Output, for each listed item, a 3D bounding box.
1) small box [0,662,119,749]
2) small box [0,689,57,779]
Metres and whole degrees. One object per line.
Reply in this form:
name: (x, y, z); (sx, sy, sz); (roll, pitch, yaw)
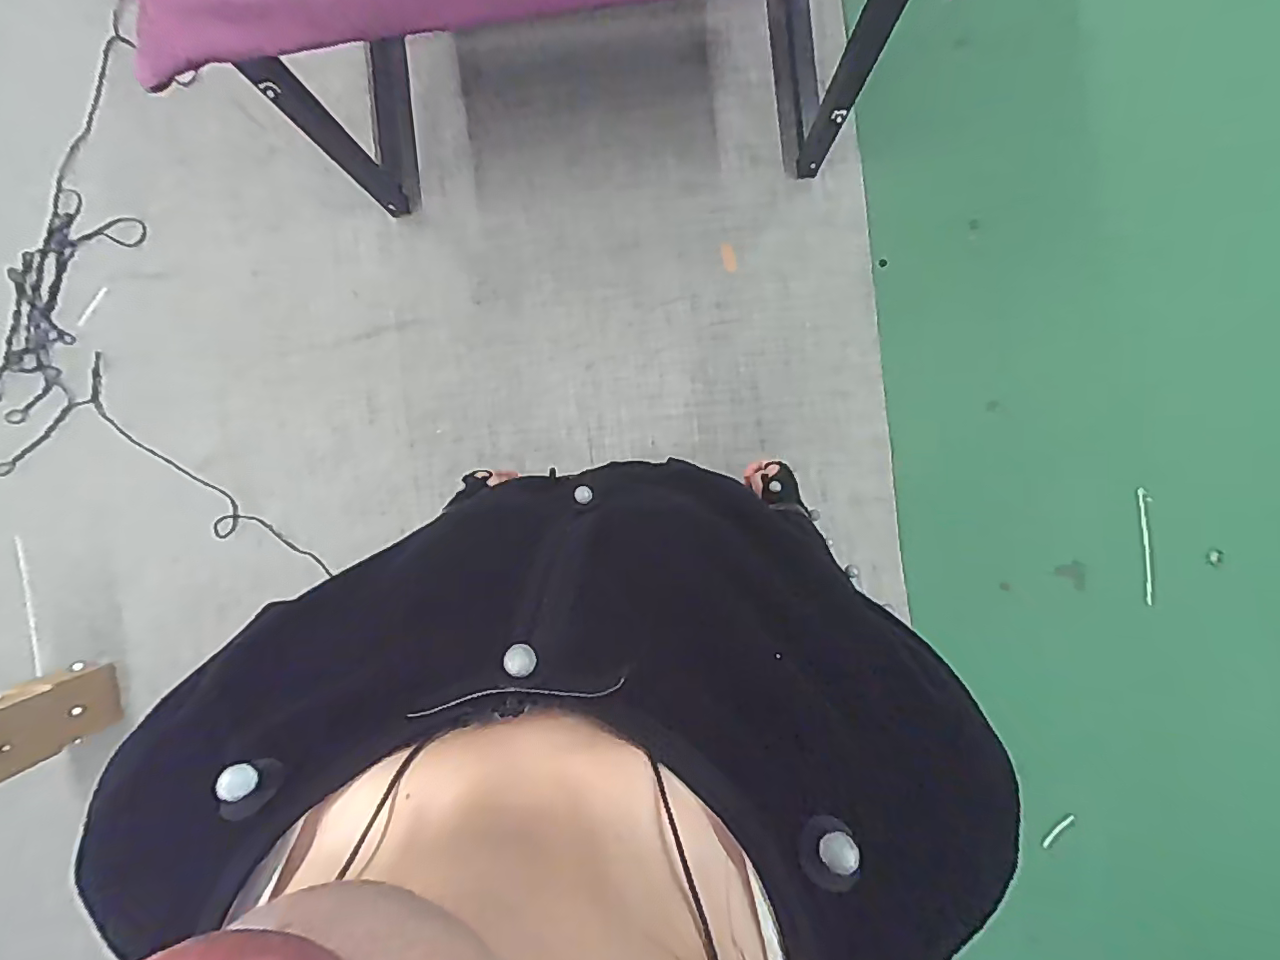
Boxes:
small box: (-1.603, 0.626, 1.495); (0.168, 0.176, 0.179); (-8, 91, 2)
small box: (-1.607, 0.640, 1.331); (0.168, 0.176, 0.179); (-7, 91, 1)
